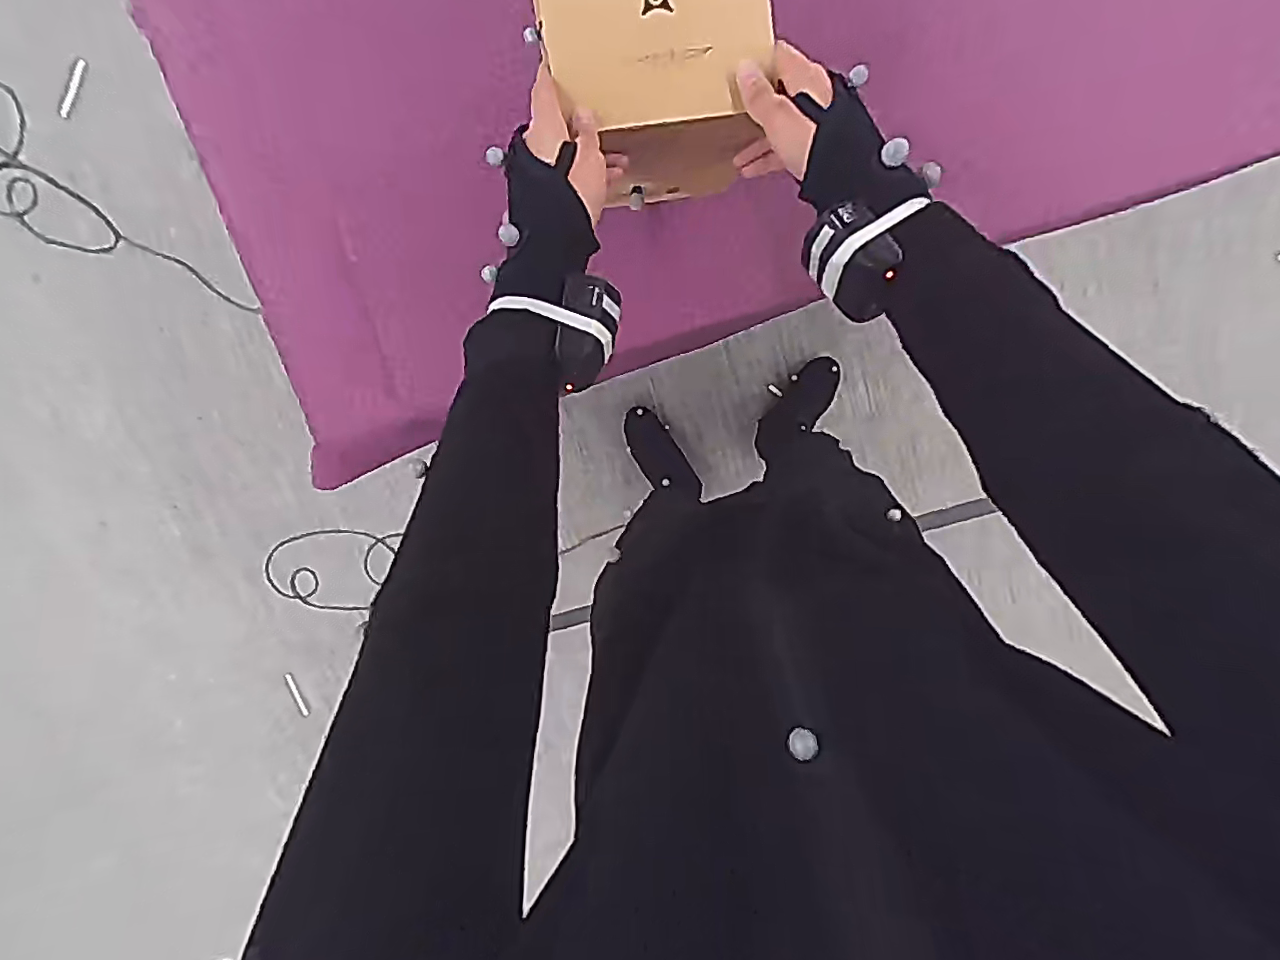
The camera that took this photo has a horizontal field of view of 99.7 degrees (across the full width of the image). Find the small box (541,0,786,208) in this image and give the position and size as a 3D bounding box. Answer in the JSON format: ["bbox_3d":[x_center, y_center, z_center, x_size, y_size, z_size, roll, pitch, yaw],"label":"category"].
[{"bbox_3d":[0.007,-0.356,0.453,0.168,0.176,0.179,-9,99,-3],"label":"small box"}]
